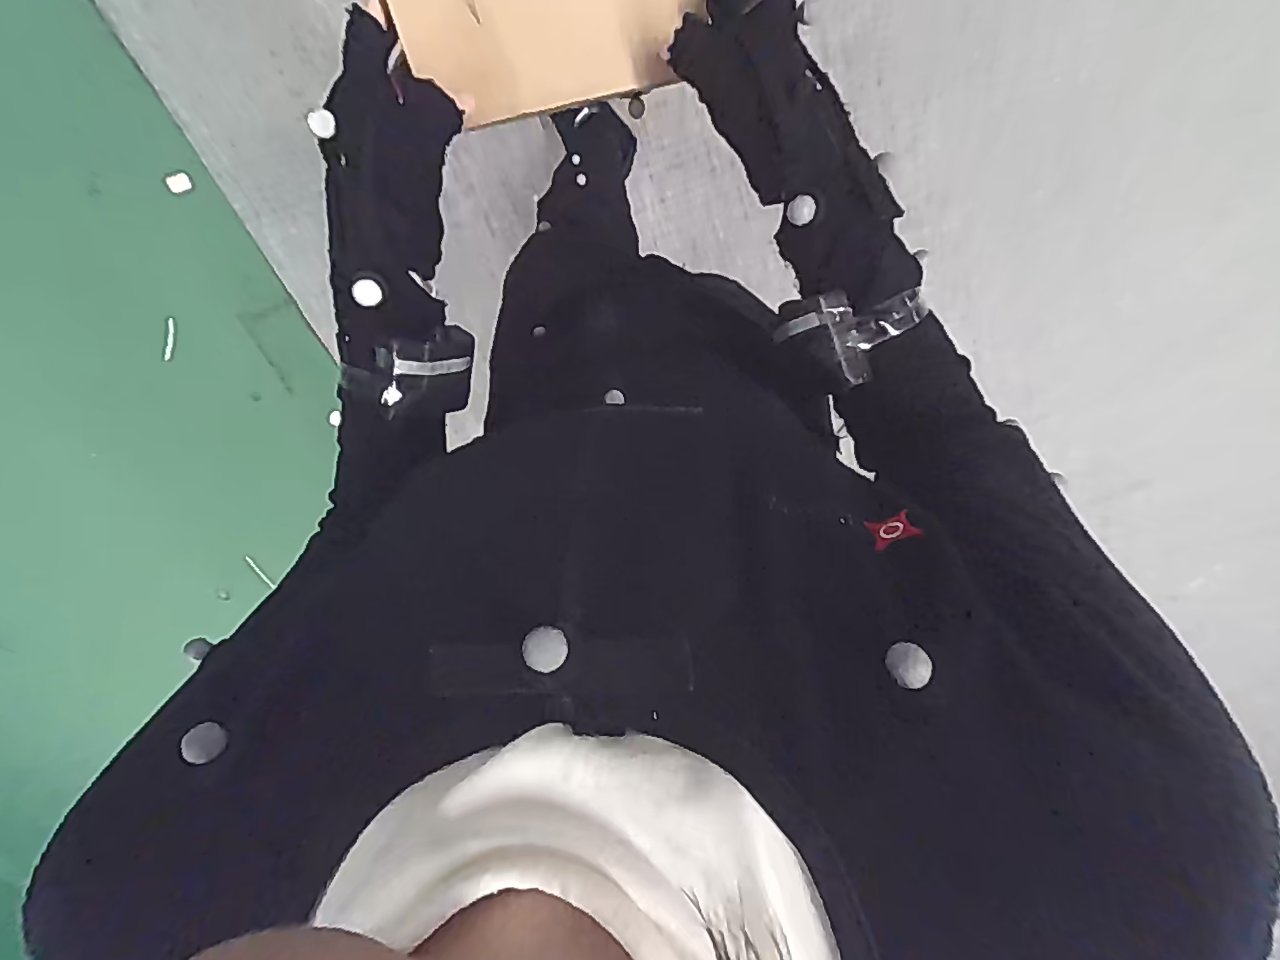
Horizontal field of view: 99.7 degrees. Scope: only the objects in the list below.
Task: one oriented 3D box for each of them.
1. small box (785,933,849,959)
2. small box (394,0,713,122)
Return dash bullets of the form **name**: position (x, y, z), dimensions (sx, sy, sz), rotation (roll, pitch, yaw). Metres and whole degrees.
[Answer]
- **small box**: position (0.529, 1.454, 1.575), dimensions (0.179, 0.176, 0.168), rotation (-13, 125, 9)
- **small box**: position (-0.062, -0.347, 0.346), dimensions (0.179, 0.176, 0.168), rotation (-12, 124, 5)
